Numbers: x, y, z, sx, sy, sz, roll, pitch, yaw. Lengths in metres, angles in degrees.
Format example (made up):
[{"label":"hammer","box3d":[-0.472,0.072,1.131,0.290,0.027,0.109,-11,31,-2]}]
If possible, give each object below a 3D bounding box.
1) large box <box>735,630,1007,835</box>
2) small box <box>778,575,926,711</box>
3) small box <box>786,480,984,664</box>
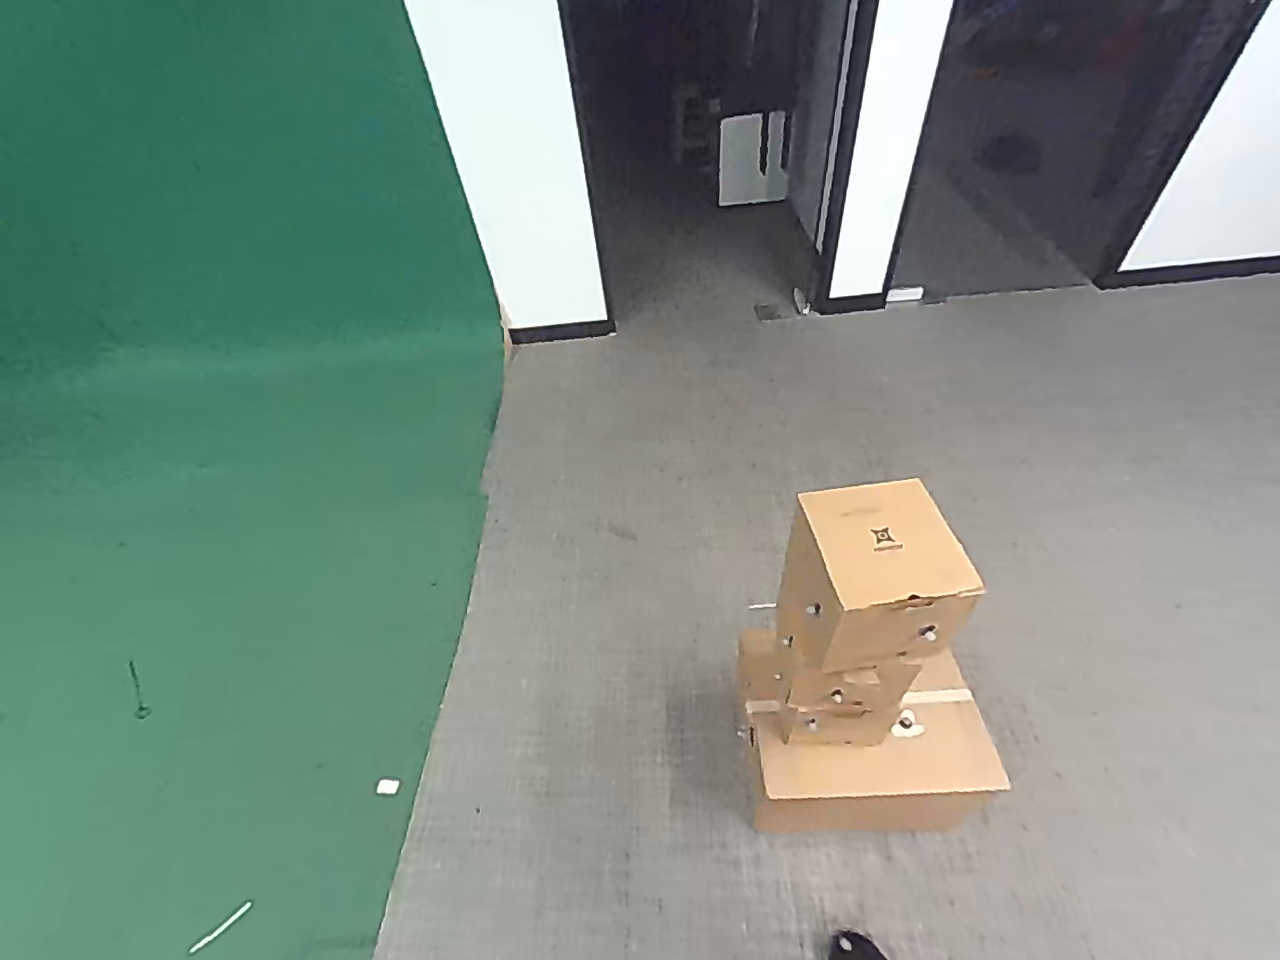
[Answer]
[{"label":"large box","box3d":[0.423,0.514,1.114,0.408,0.320,0.320,-4,48,3]},{"label":"small box","box3d":[0.309,0.233,0.832,0.168,0.176,0.179,0,47,7]},{"label":"small box","box3d":[0.301,0.127,0.710,0.168,0.176,0.179,-7,46,0]}]
